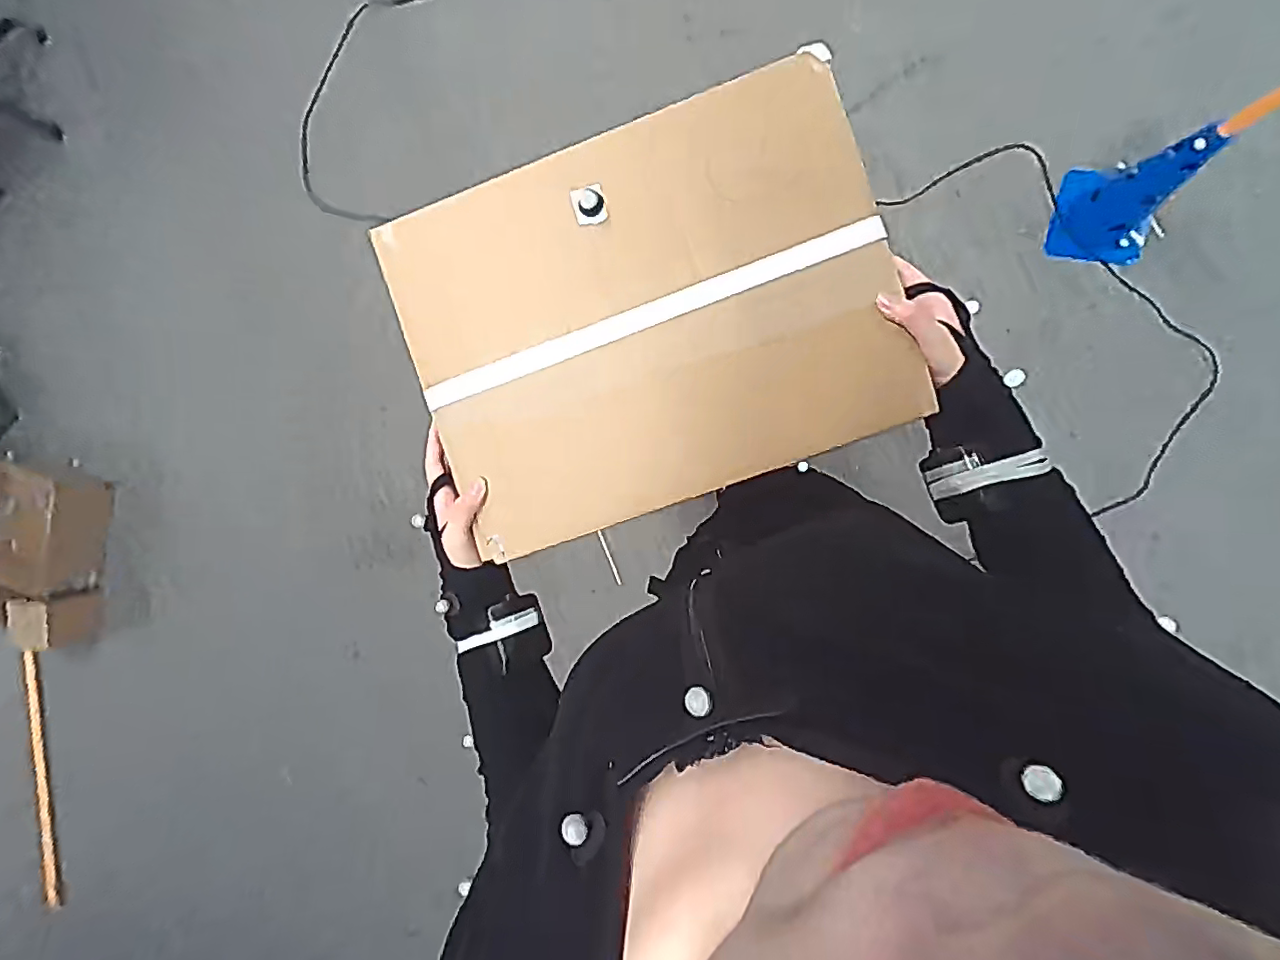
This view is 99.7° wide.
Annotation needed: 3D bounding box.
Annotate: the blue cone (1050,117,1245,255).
[{"bbox_3d":[1.027,-0.610,1.081,0.193,0.380,0.192,11,96,11],"label":"blue cone"}]
